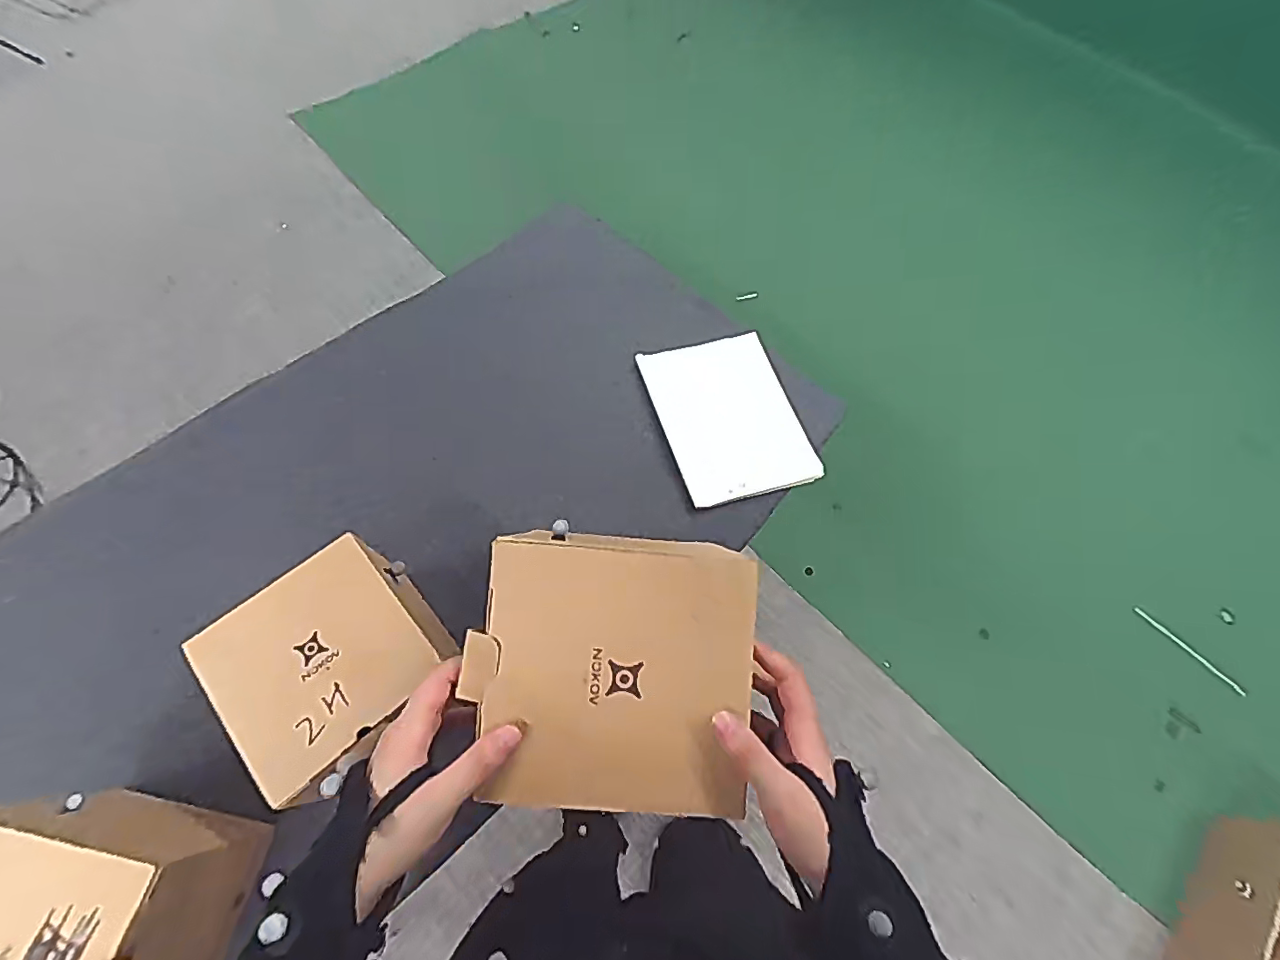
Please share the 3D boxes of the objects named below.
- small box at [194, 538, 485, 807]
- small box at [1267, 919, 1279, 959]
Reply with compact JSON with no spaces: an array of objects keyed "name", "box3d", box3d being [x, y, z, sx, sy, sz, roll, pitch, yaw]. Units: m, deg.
[{"name":"small box","box3d":[-0.288,0.195,0.556,0.168,0.176,0.179,-39,73,-18]},{"name":"small box","box3d":[1.426,0.972,1.069,0.168,0.176,0.179,42,70,13]}]
